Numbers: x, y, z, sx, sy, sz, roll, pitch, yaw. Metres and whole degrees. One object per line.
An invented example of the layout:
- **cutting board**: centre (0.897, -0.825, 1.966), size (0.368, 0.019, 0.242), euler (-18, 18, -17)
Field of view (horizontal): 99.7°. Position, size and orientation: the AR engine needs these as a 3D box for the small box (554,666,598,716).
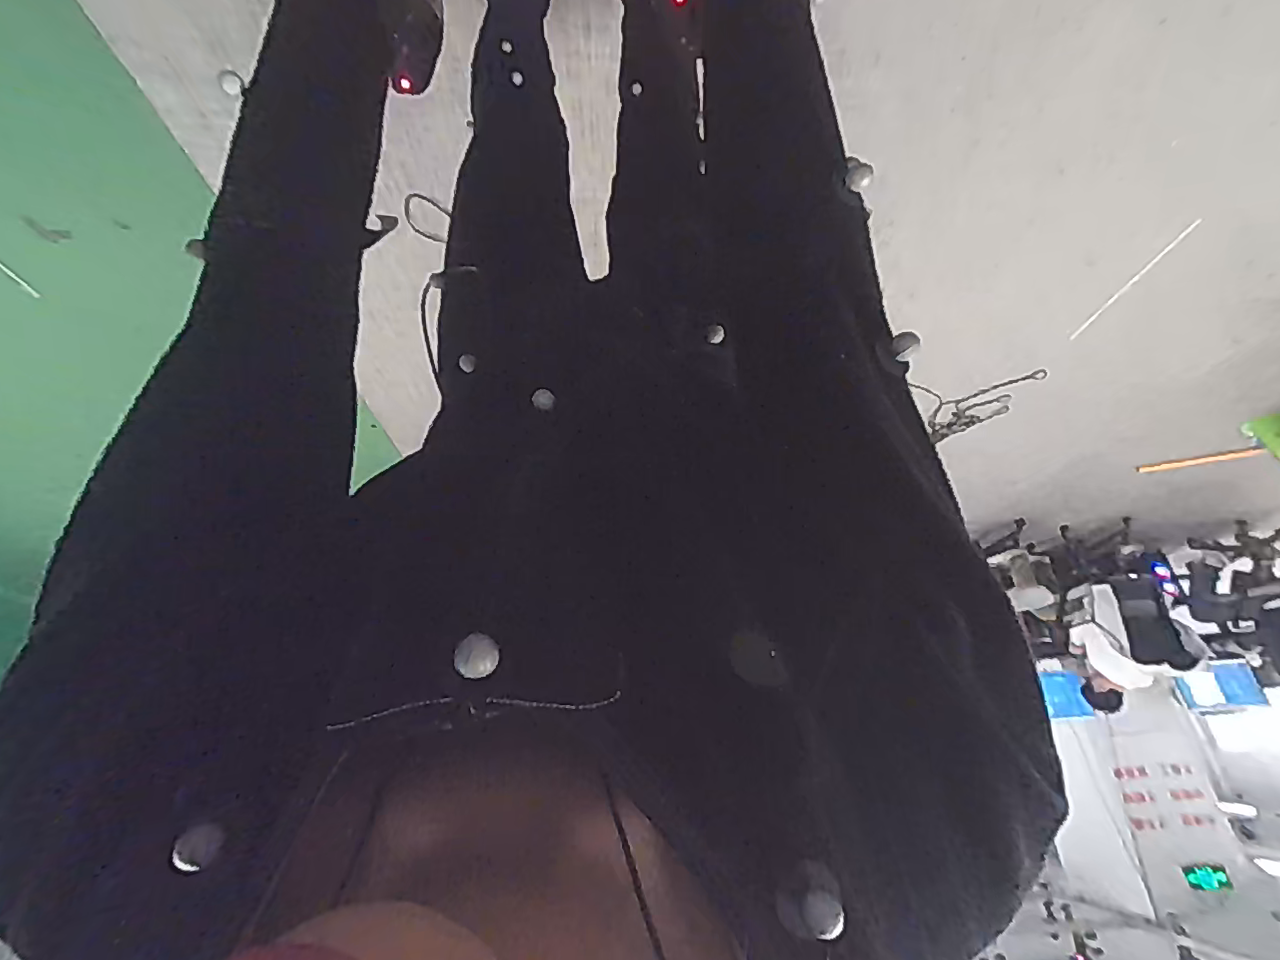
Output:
- **small box**: centre (-0.253, 0.826, 2.121), size (0.168, 0.176, 0.179), euler (-1, 155, -6)
